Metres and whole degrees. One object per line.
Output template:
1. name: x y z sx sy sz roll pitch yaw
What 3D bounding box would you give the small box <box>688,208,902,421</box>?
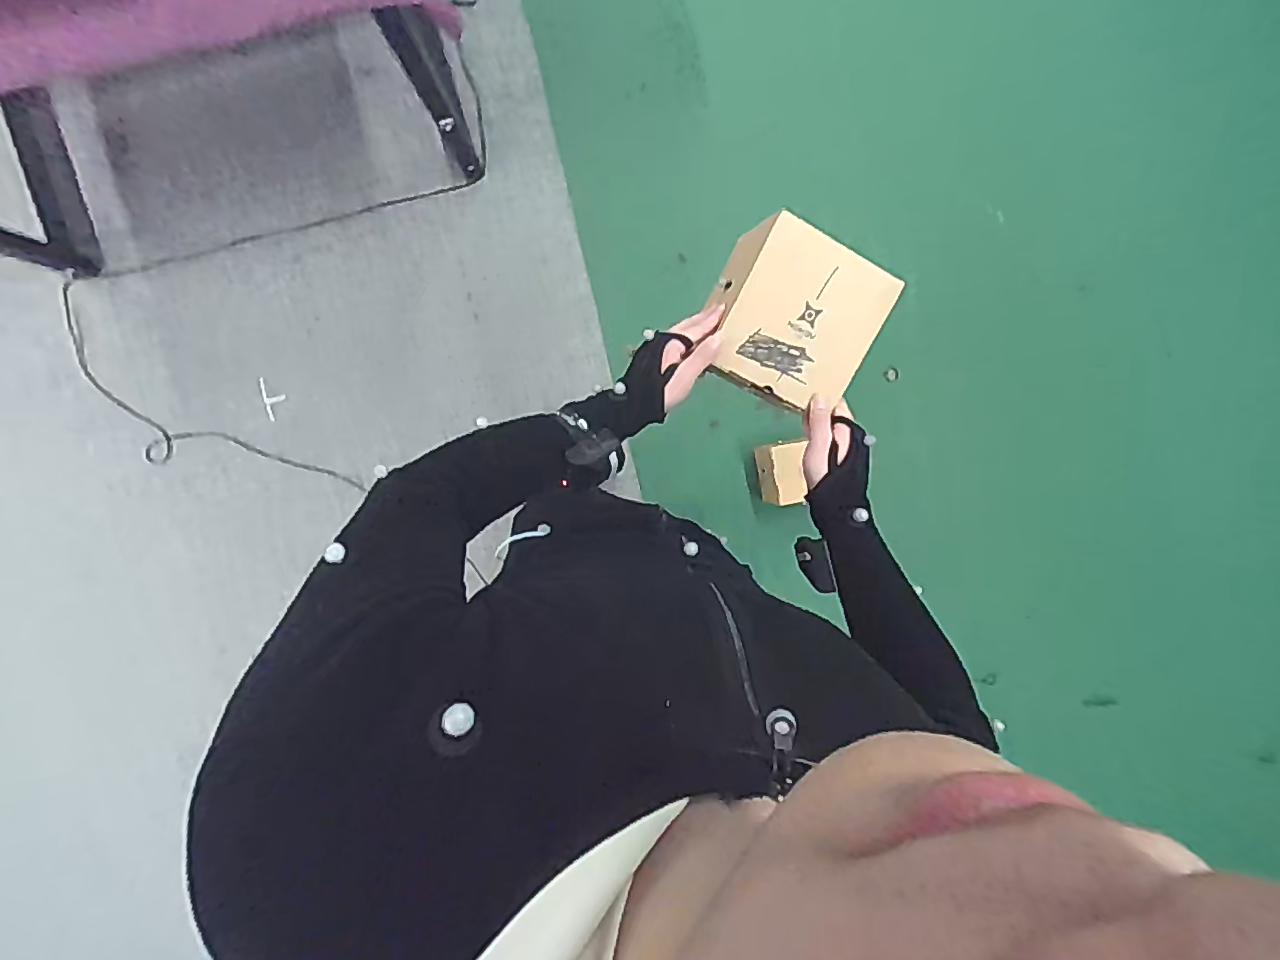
1. small box: 0.172 -0.194 0.668 0.168 0.176 0.179 24 100 -11

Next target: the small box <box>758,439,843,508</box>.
1. small box: 0.457 -0.024 1.559 0.179 0.176 0.168 -12 94 -1
